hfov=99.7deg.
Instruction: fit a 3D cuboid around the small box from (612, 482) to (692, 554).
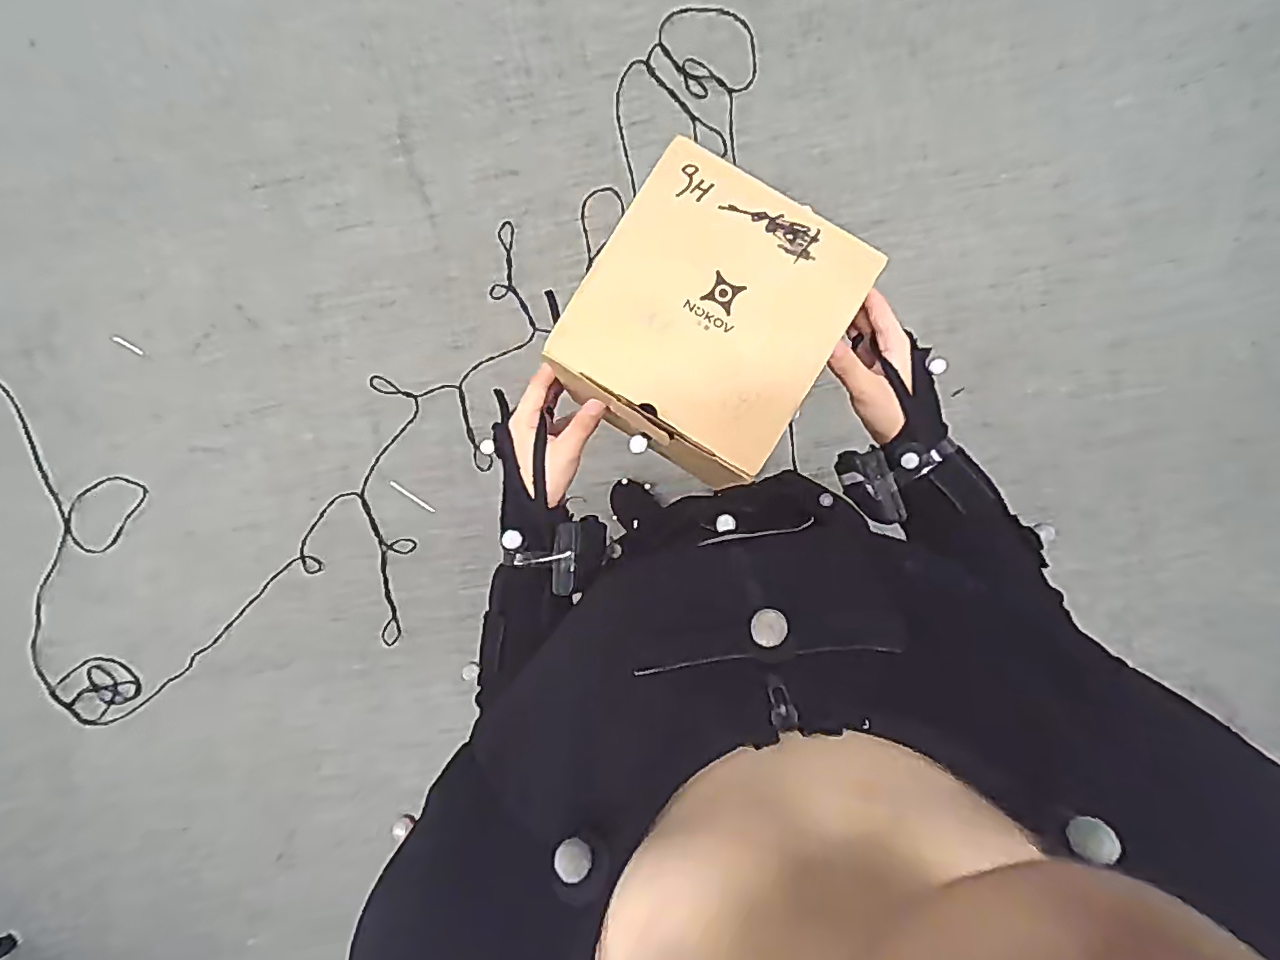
[{"bbox_3d":[0.031,0.090,1.330,0.179,0.176,0.168,1,89,14],"label":"small box"}]
